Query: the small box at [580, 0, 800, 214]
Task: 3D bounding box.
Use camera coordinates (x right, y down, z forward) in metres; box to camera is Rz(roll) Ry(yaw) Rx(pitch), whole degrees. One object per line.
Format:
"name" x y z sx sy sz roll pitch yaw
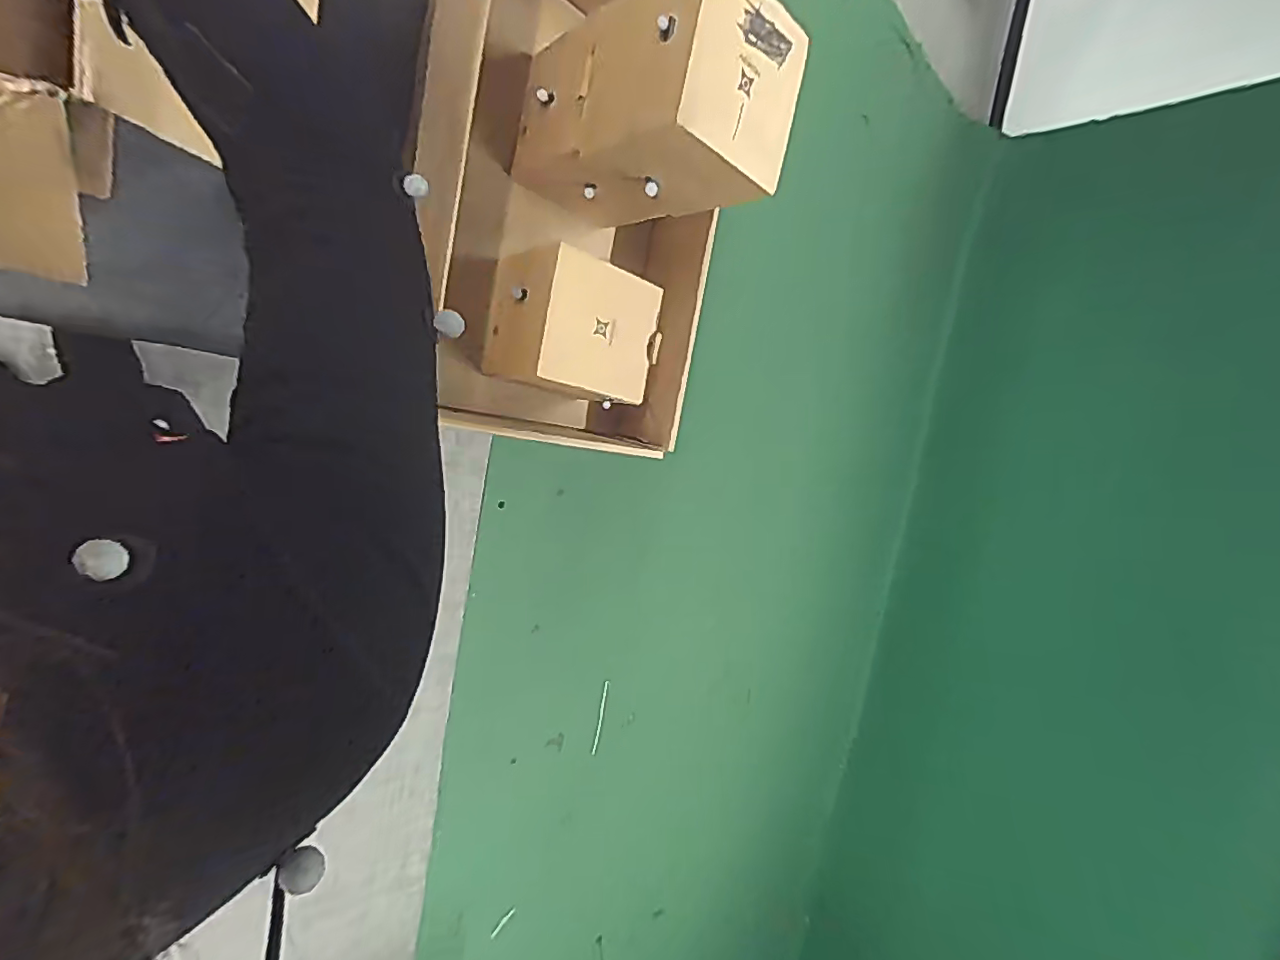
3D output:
"small box" 0.052 -0.434 0.620 0.168 0.176 0.179 7 98 -43
